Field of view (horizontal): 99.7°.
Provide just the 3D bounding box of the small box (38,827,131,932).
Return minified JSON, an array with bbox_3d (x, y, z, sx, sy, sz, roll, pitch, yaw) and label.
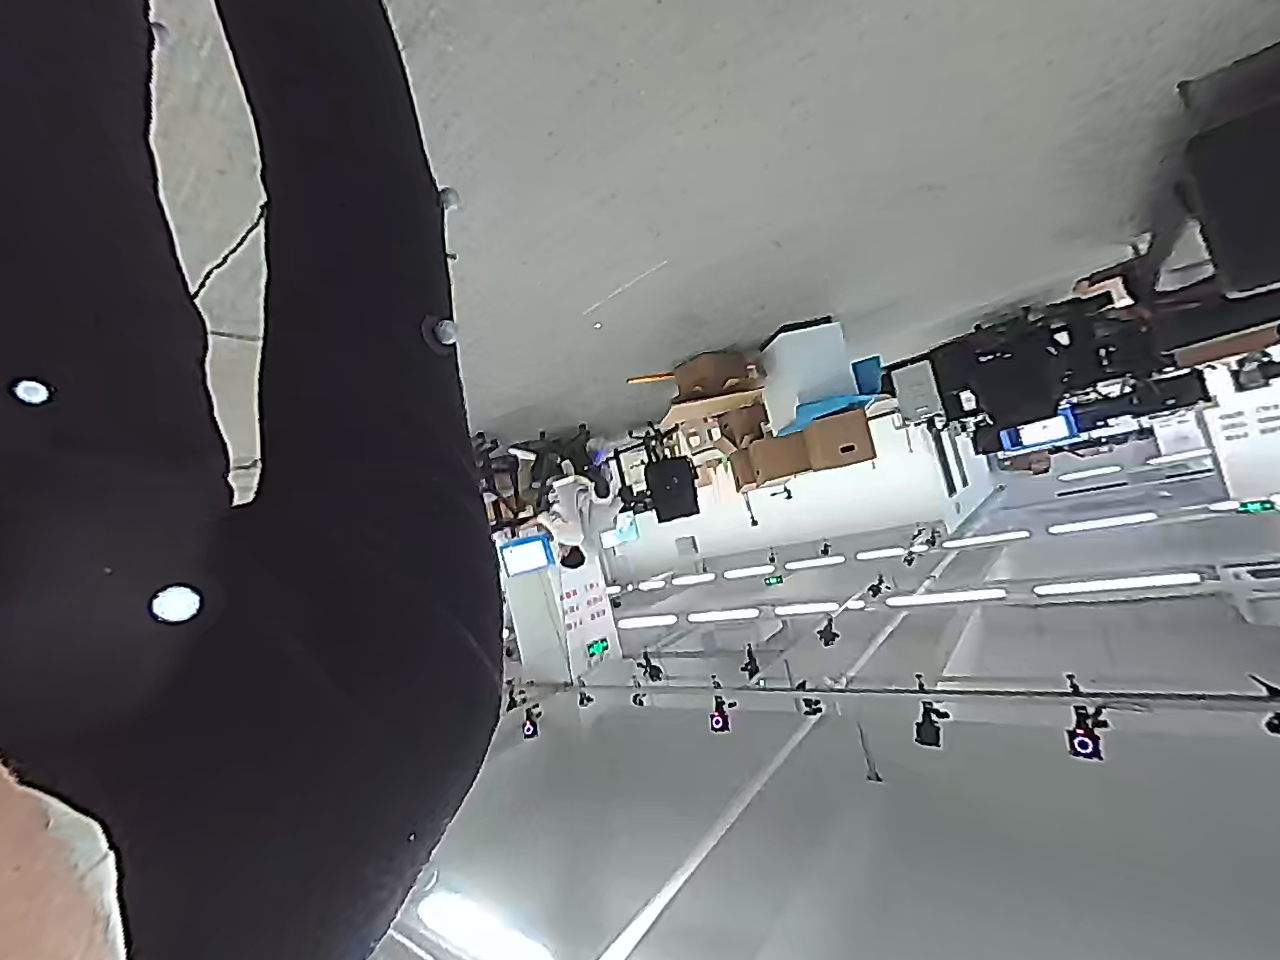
[{"bbox_3d":[-1.625,1.152,1.580,0.179,0.176,0.168,-15,177,40],"label":"small box"}]
